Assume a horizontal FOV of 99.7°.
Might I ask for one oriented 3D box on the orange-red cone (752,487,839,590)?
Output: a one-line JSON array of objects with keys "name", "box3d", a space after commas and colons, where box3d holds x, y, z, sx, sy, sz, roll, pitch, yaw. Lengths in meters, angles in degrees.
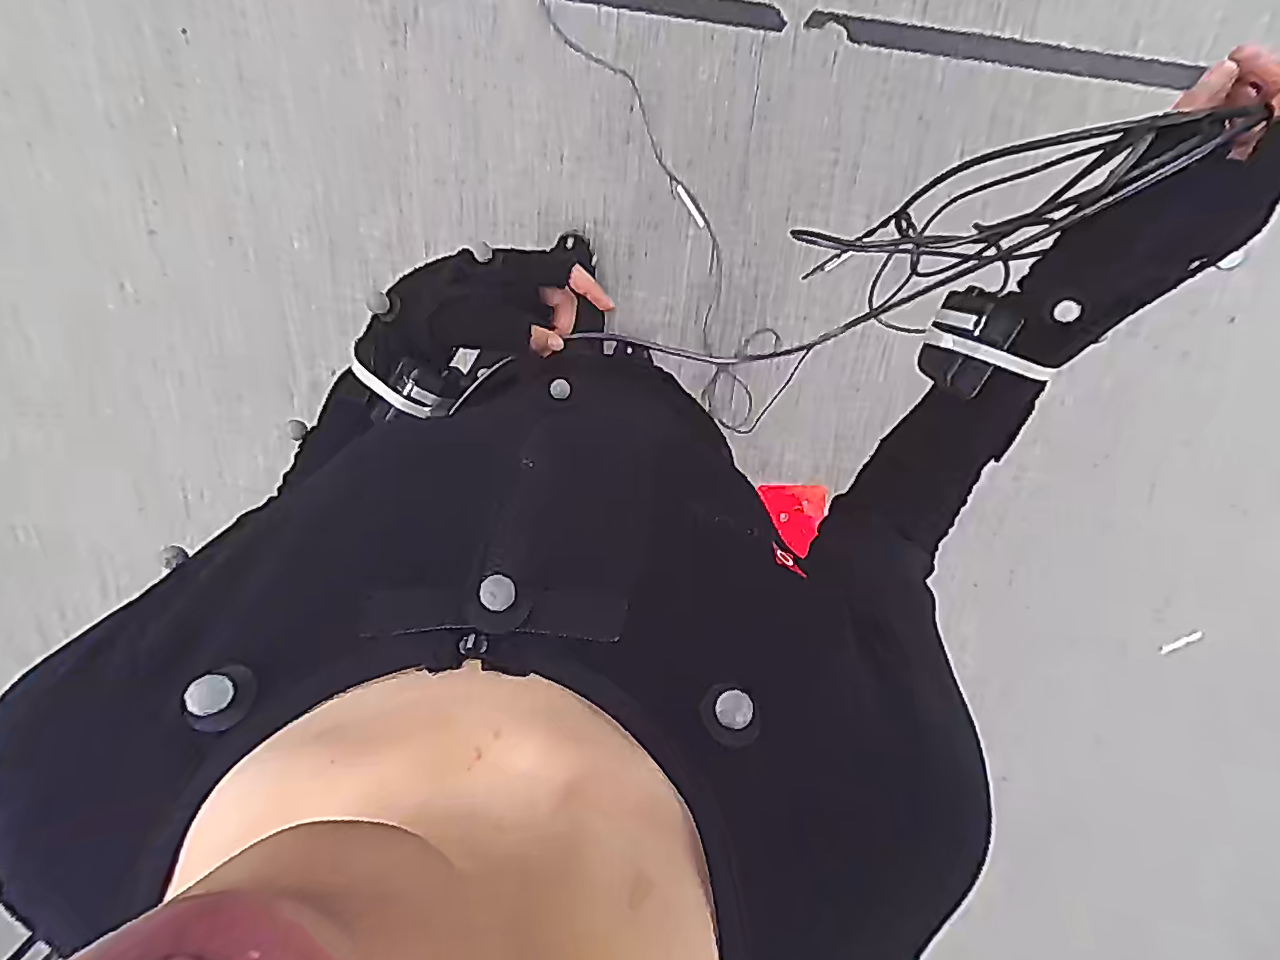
[{"name": "orange-red cone", "box3d": [0.421, 0.168, 1.349, 0.199, 0.360, 0.198, 1, 109, -1]}]
